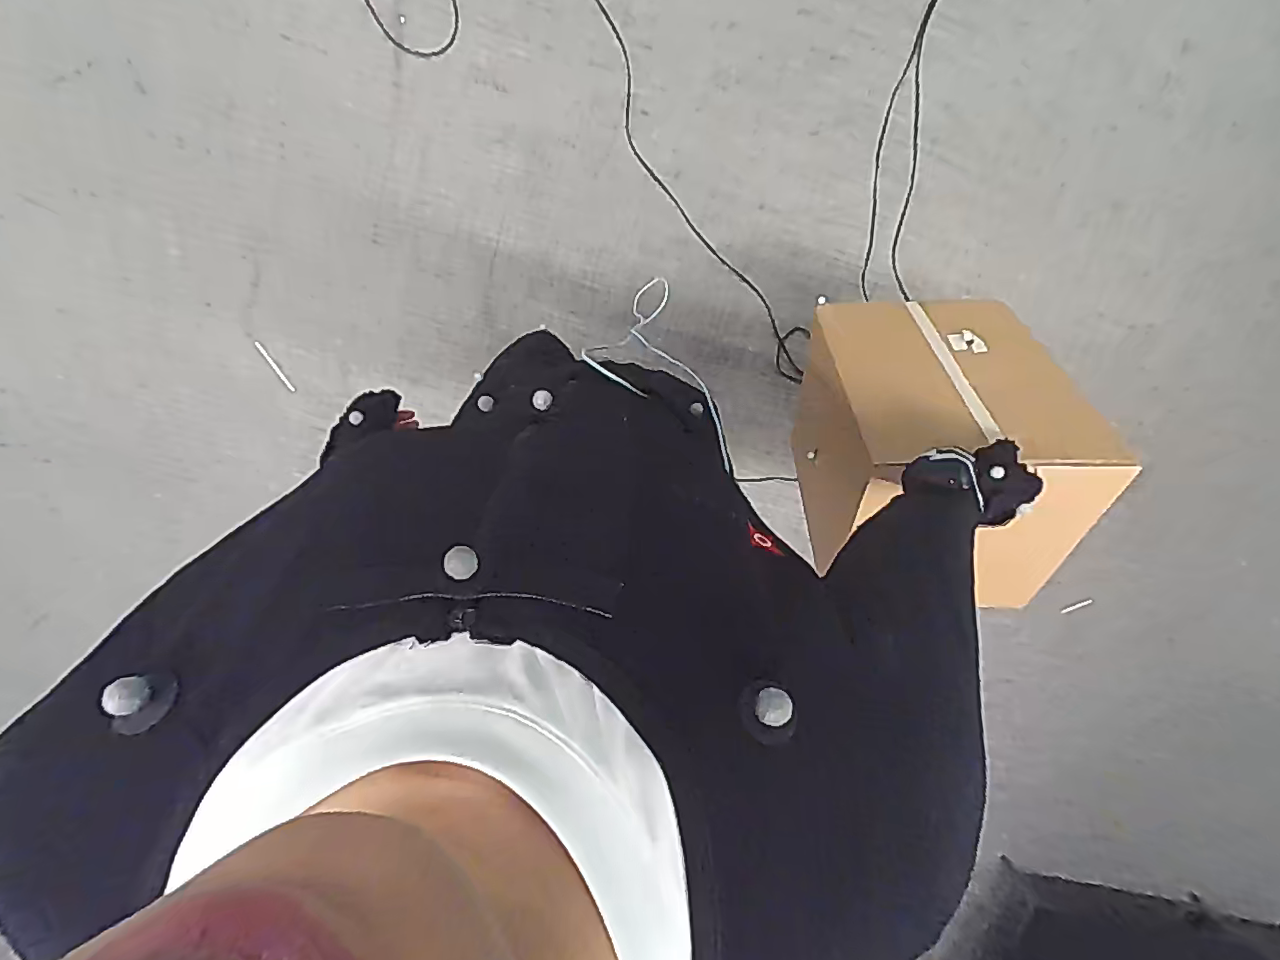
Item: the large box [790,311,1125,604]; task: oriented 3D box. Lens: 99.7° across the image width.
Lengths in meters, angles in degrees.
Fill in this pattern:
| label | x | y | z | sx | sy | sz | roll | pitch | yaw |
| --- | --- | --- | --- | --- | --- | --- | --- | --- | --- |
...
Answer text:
| label | x | y | z | sx | sy | sz | roll | pitch | yaw |
| --- | --- | --- | --- | --- | --- | --- | --- | --- | --- |
| large box | 0.455 | -0.043 | 0.906 | 0.320 | 0.408 | 0.320 | 1 | 135 | 3 |
